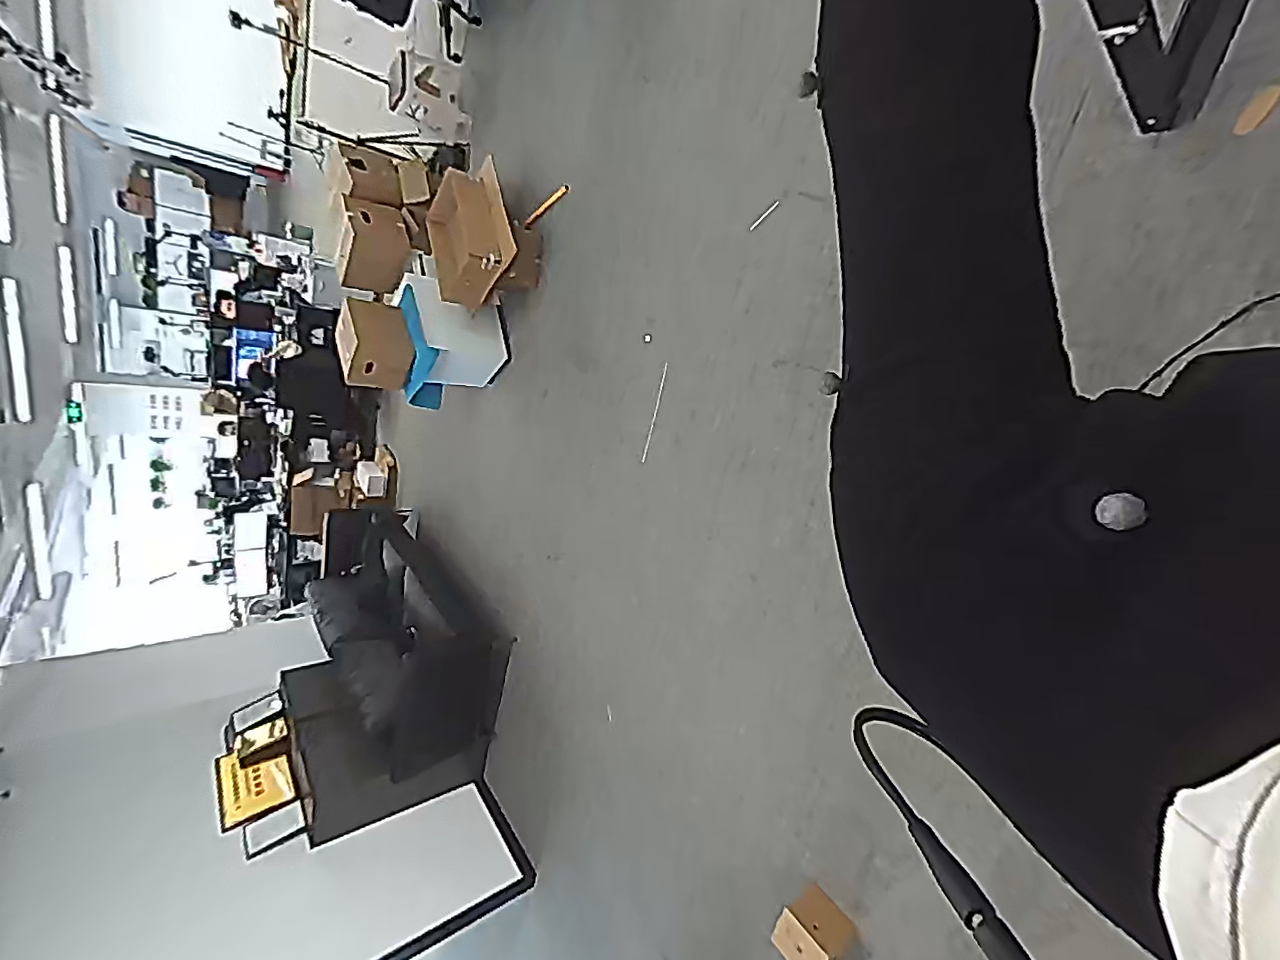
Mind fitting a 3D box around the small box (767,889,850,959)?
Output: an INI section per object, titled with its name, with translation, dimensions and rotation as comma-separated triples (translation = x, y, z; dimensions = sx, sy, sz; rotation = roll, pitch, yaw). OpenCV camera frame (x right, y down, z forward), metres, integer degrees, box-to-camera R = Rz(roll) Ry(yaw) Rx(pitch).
[small box]
translation = 0.564, 1.524, 1.800
dimensions = 0.179, 0.176, 0.168
rotation = 34, 115, 45
